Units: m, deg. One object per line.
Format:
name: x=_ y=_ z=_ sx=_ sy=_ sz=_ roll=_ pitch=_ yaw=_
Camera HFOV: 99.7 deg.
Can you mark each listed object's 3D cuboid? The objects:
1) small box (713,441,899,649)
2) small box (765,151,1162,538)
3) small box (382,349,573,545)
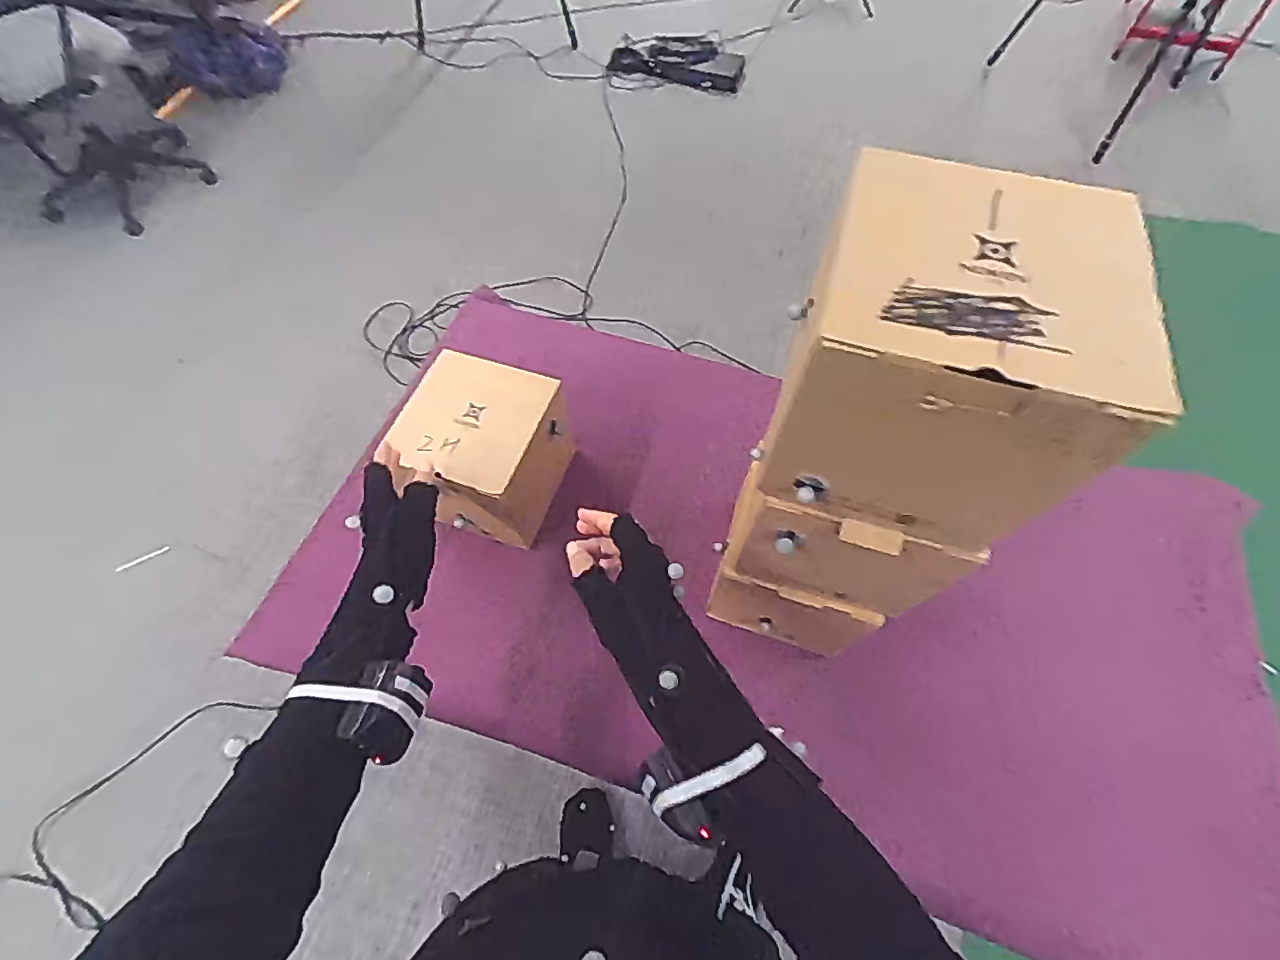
small box: x=0.193 y=0.084 z=0.655 sx=0.168 sy=0.176 sz=0.179 roll=17 pitch=65 yaw=9
small box: x=0.191 y=-0.082 z=0.370 sx=0.168 sy=0.176 sz=0.179 roll=16 pitch=62 yaw=9
small box: x=-0.198 y=-0.039 z=0.725 sx=0.168 sy=0.176 sz=0.179 roll=17 pitch=64 yaw=10
